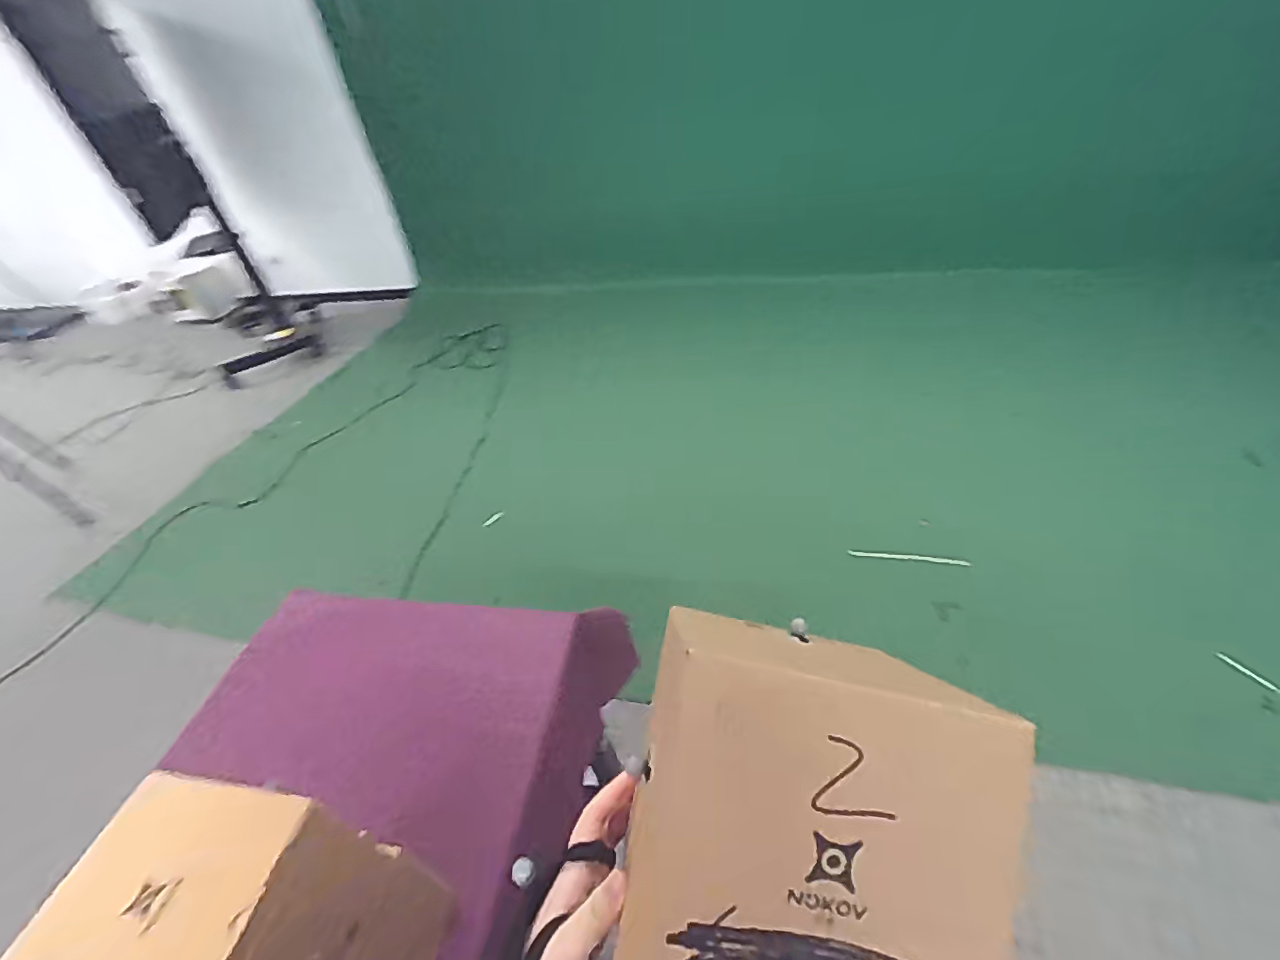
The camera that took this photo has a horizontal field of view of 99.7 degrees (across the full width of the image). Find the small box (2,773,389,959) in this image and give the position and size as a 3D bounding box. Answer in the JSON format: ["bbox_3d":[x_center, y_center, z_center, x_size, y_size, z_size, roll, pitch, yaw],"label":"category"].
[{"bbox_3d":[-0.357,0.378,0.460,0.179,0.176,0.168,1,41,12],"label":"small box"}]
